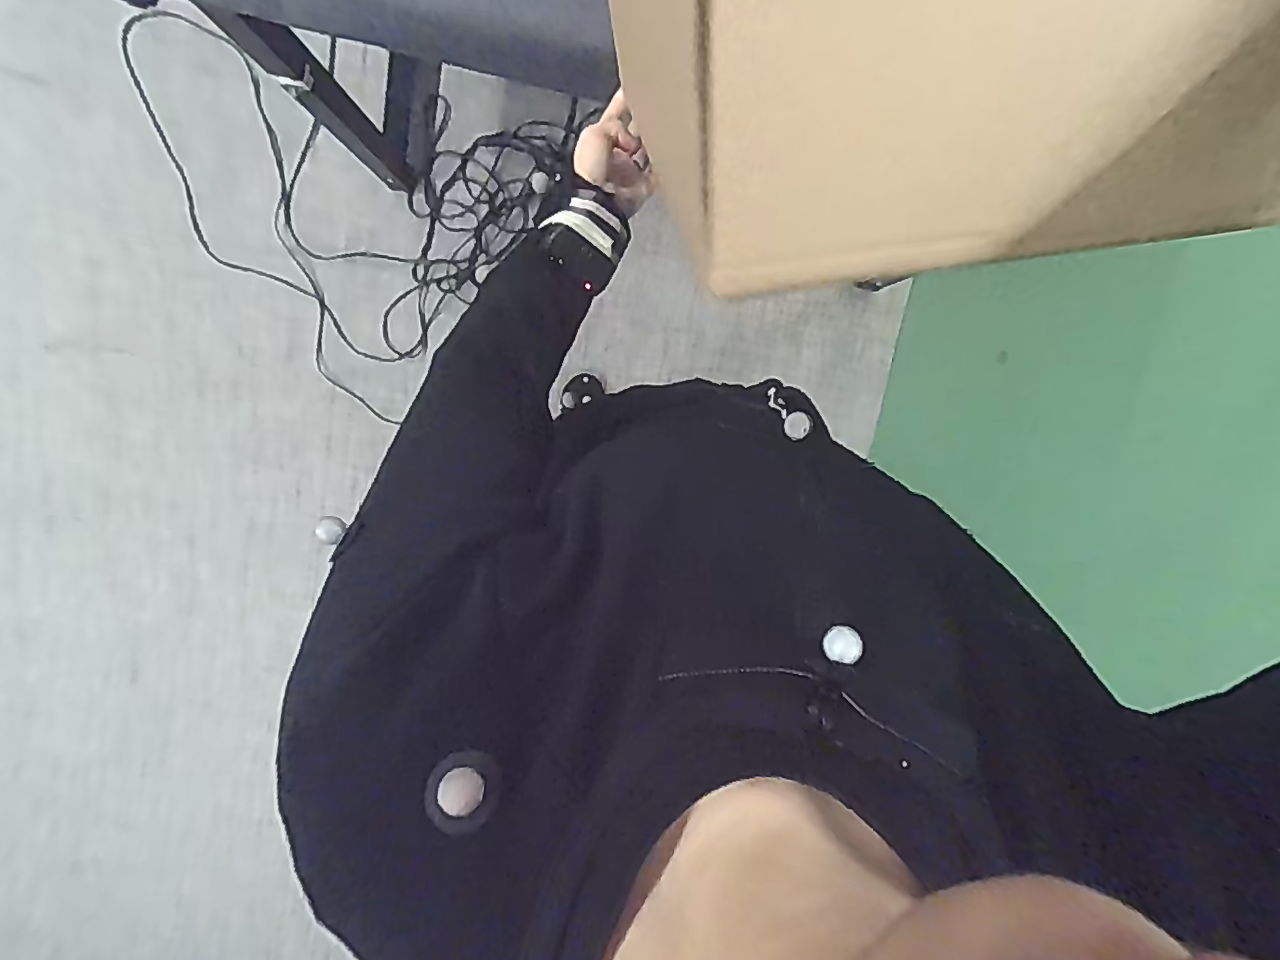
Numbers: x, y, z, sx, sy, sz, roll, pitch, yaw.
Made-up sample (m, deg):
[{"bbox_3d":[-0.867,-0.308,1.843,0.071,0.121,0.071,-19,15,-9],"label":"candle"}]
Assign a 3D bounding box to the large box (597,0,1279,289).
[{"bbox_3d":[0.137,-0.348,0.252,0.320,0.408,0.320,-11,138,-1],"label":"large box"}]
